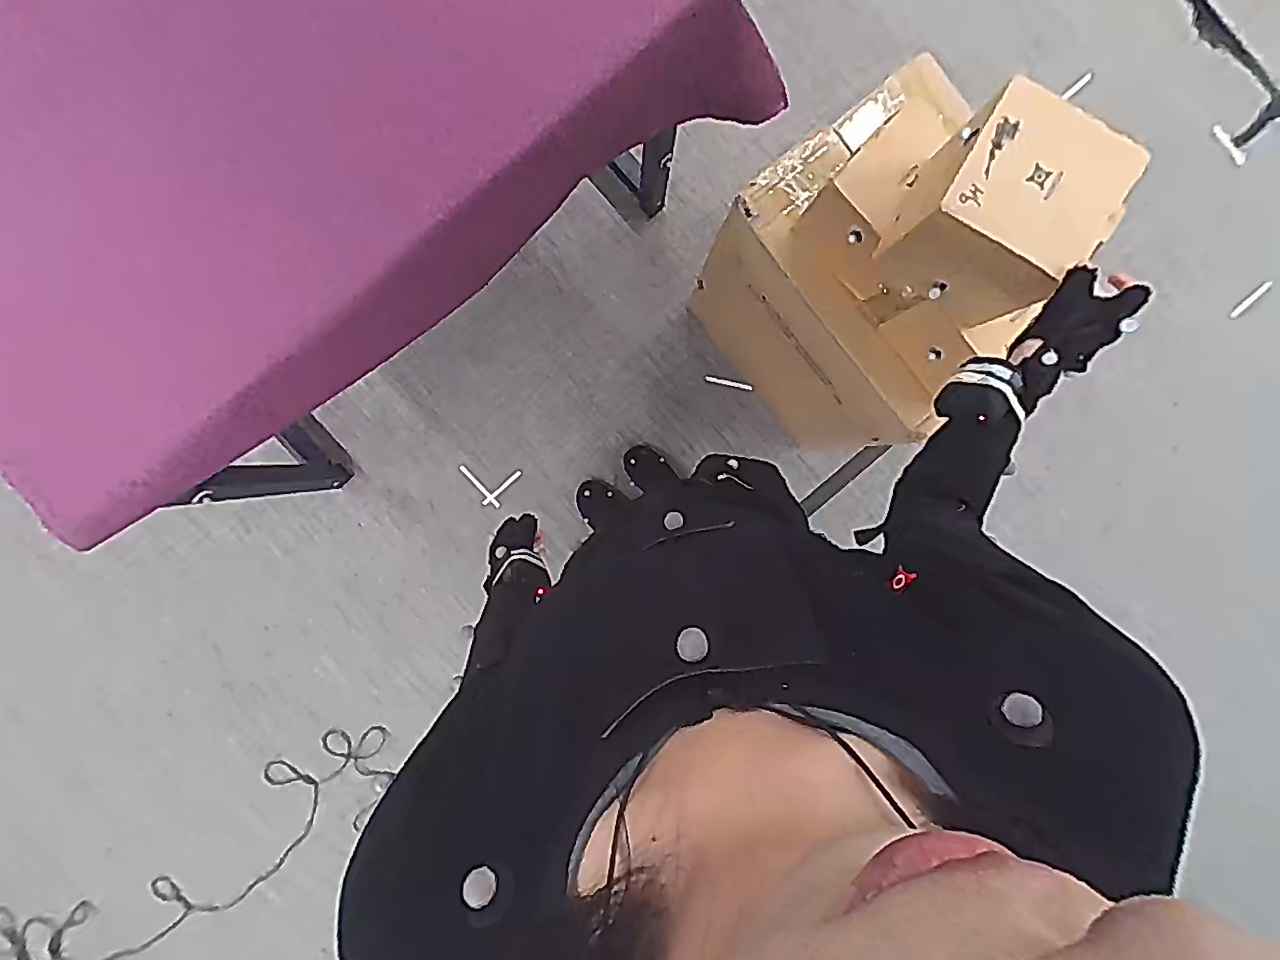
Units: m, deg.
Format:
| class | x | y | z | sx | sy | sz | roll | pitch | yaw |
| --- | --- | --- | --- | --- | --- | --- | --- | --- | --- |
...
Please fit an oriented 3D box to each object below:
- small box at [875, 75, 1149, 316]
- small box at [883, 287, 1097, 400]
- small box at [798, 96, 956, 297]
| class | x | y | z | sx | sy | sz | roll | pitch | yaw |
| --- | --- | --- | --- | --- | --- | --- | --- | --- | --- |
| small box | 0.430 | -0.320 | 0.656 | 0.179 | 0.176 | 0.168 | 30 | 90 | -2 |
| small box | 0.516 | -0.237 | 0.824 | 0.168 | 0.176 | 0.179 | -40 | 90 | 0 |
| small box | 0.371 | -0.408 | 0.815 | 0.168 | 0.176 | 0.179 | -44 | 94 | 1 |
